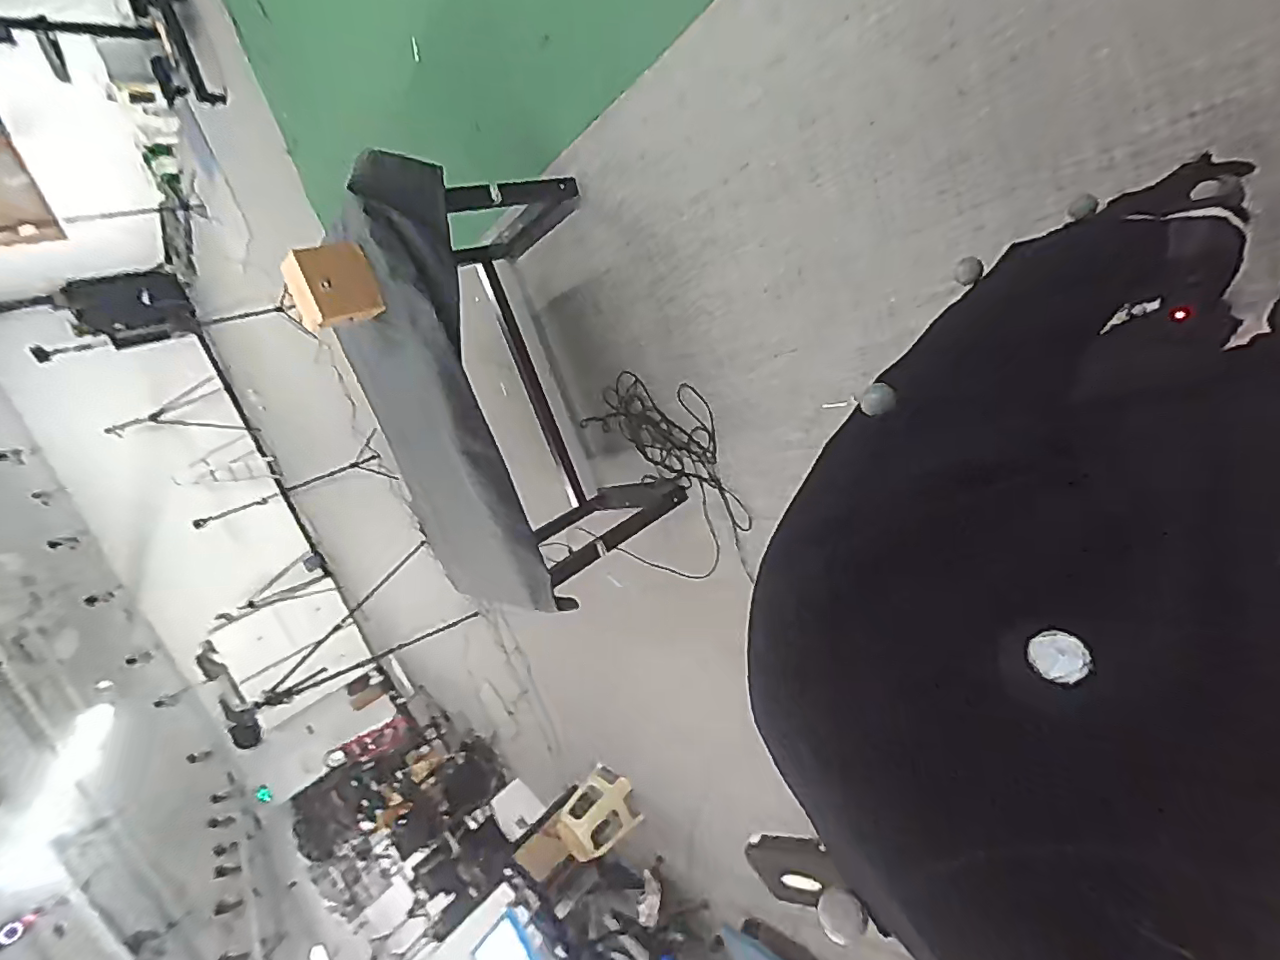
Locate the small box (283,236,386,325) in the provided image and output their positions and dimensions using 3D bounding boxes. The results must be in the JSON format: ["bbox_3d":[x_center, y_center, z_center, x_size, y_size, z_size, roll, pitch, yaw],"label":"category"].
[{"bbox_3d":[-0.808,-0.530,1.439,0.168,0.176,0.179,2,114,47],"label":"small box"}]
